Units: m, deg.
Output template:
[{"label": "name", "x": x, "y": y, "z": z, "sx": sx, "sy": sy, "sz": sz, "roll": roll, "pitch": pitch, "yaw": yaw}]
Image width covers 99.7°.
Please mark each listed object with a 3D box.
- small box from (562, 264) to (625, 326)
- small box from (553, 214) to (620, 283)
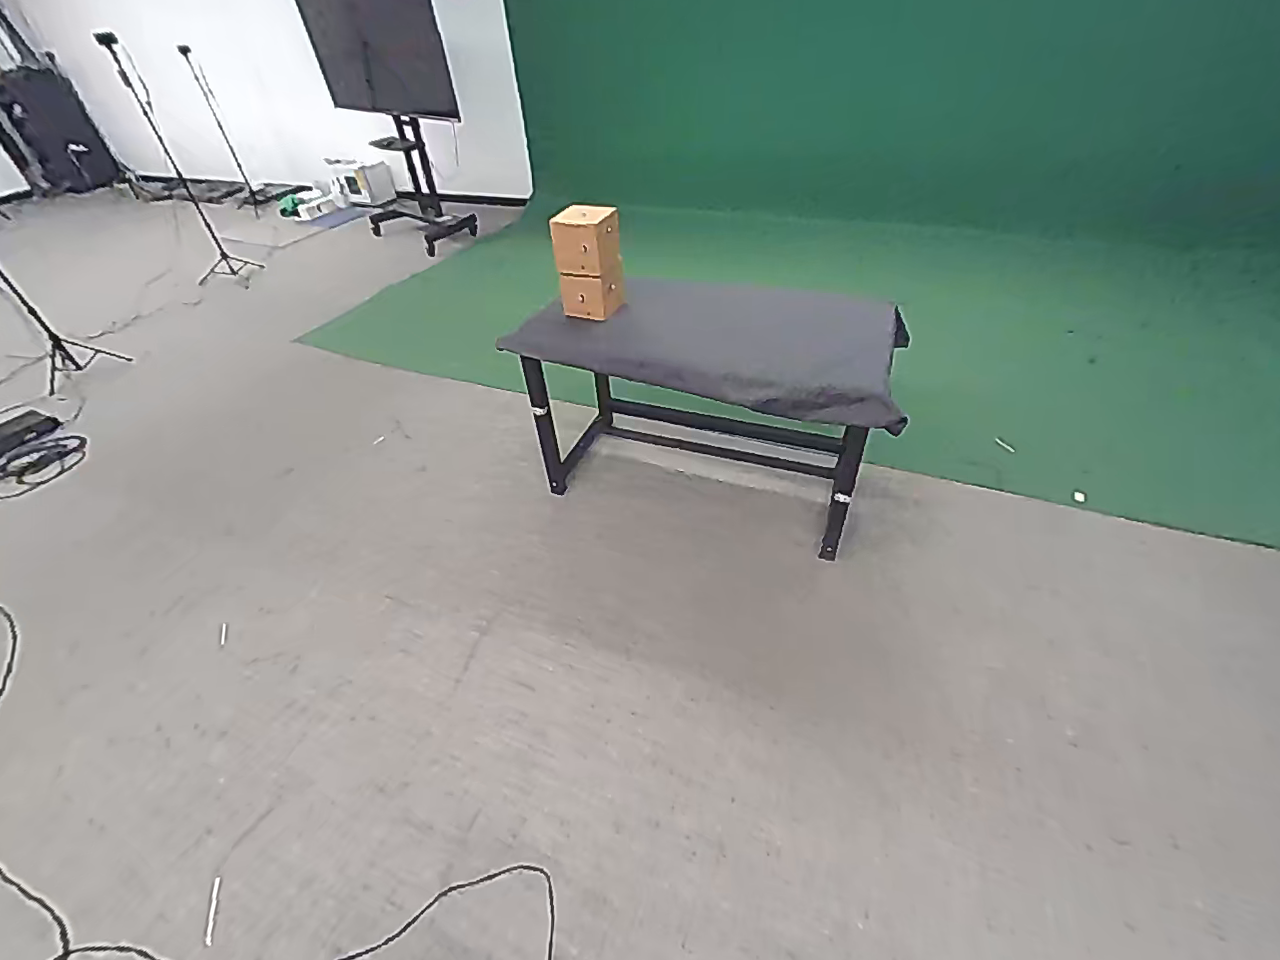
[{"label": "small box", "x": -0.159, "y": -0.673, "z": 1.952, "sx": 0.168, "sy": 0.176, "sz": 0.179, "roll": 15, "pitch": 45, "yaw": 19}, {"label": "small box", "x": -0.172, "y": -0.785, "z": 1.835, "sx": 0.168, "sy": 0.176, "sz": 0.179, "roll": 13, "pitch": 44, "yaw": 17}]
